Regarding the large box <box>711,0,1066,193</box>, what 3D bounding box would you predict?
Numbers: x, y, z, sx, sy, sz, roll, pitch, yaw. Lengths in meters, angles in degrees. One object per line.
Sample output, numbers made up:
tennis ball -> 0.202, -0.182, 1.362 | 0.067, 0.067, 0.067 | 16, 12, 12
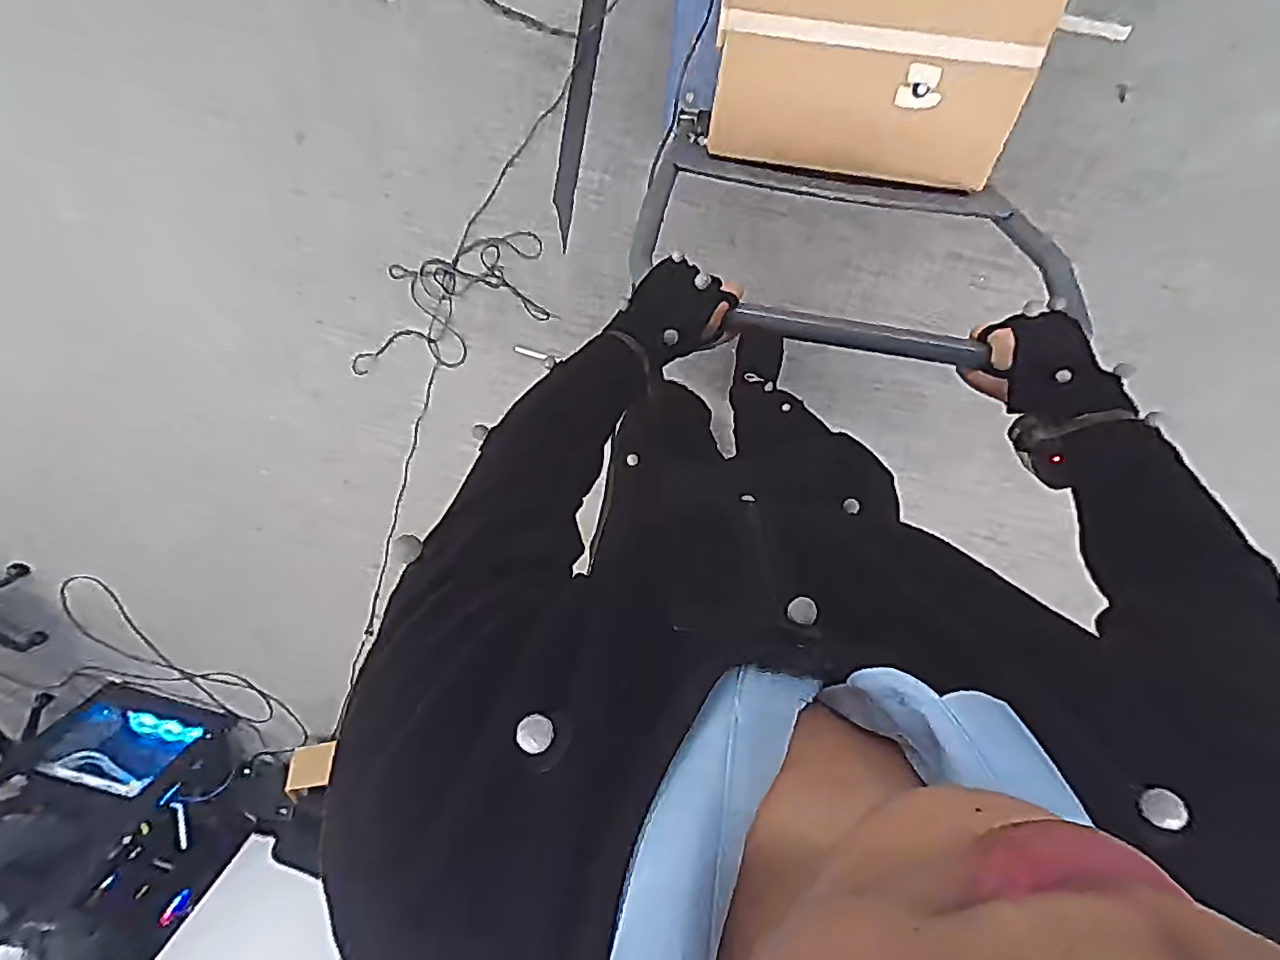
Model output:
large box -> 0.329, -0.654, 0.810 | 0.408, 0.320, 0.320 | 9, 131, 2
